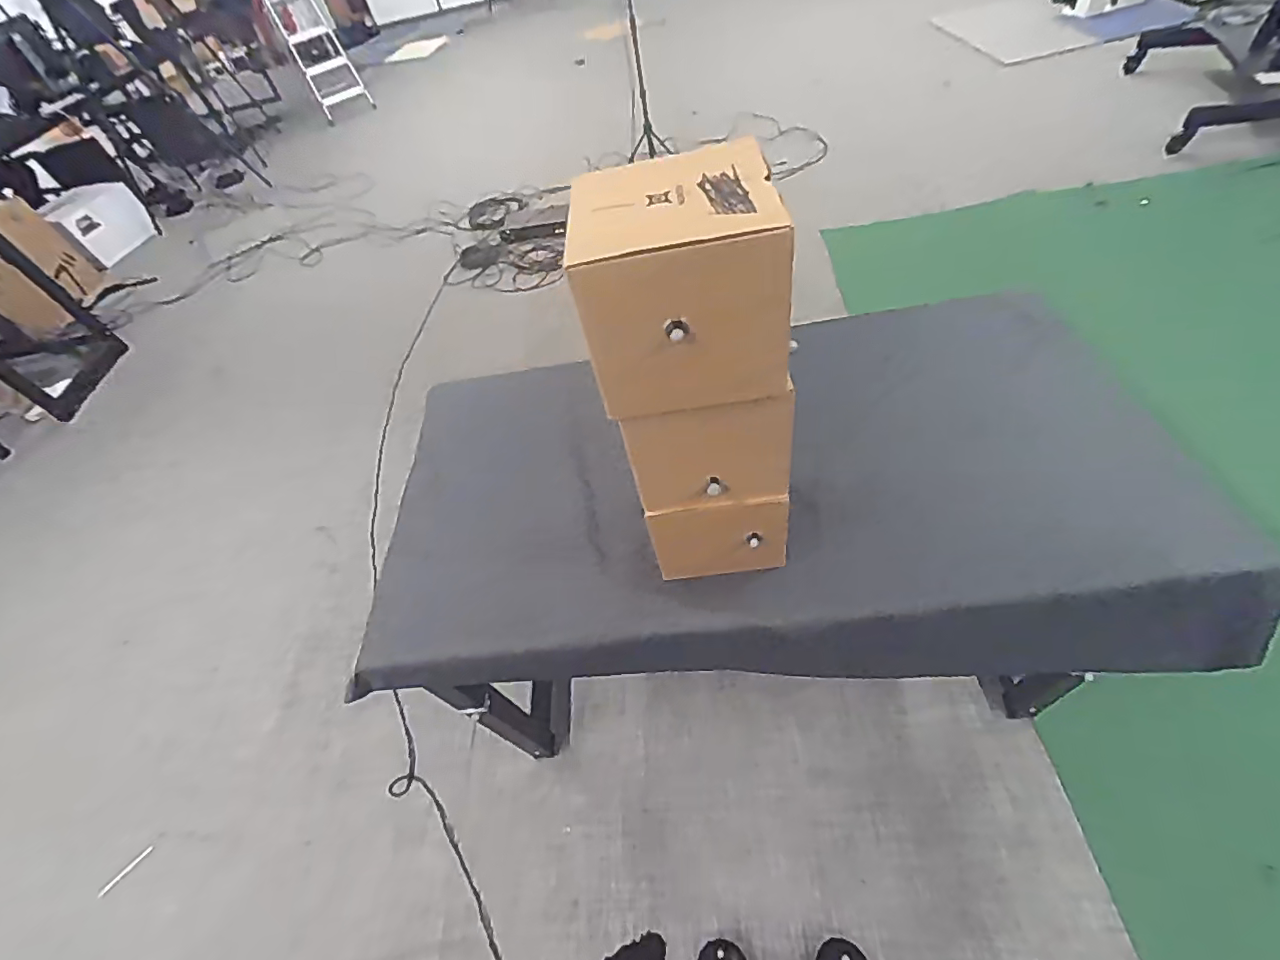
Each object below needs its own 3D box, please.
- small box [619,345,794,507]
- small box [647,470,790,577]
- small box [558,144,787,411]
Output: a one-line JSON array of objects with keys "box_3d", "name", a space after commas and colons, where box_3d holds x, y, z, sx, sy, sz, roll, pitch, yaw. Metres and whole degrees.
[{"box_3d": [0.075, -0.086, 0.644, 0.179, 0.176, 0.168, -8, 50, 7], "name": "small box"}, {"box_3d": [0.106, 0.020, 0.765, 0.179, 0.176, 0.168, -10, 50, 7], "name": "small box"}, {"box_3d": [0.038, -0.185, 0.515, 0.179, 0.176, 0.168, -5, 49, 9], "name": "small box"}]
